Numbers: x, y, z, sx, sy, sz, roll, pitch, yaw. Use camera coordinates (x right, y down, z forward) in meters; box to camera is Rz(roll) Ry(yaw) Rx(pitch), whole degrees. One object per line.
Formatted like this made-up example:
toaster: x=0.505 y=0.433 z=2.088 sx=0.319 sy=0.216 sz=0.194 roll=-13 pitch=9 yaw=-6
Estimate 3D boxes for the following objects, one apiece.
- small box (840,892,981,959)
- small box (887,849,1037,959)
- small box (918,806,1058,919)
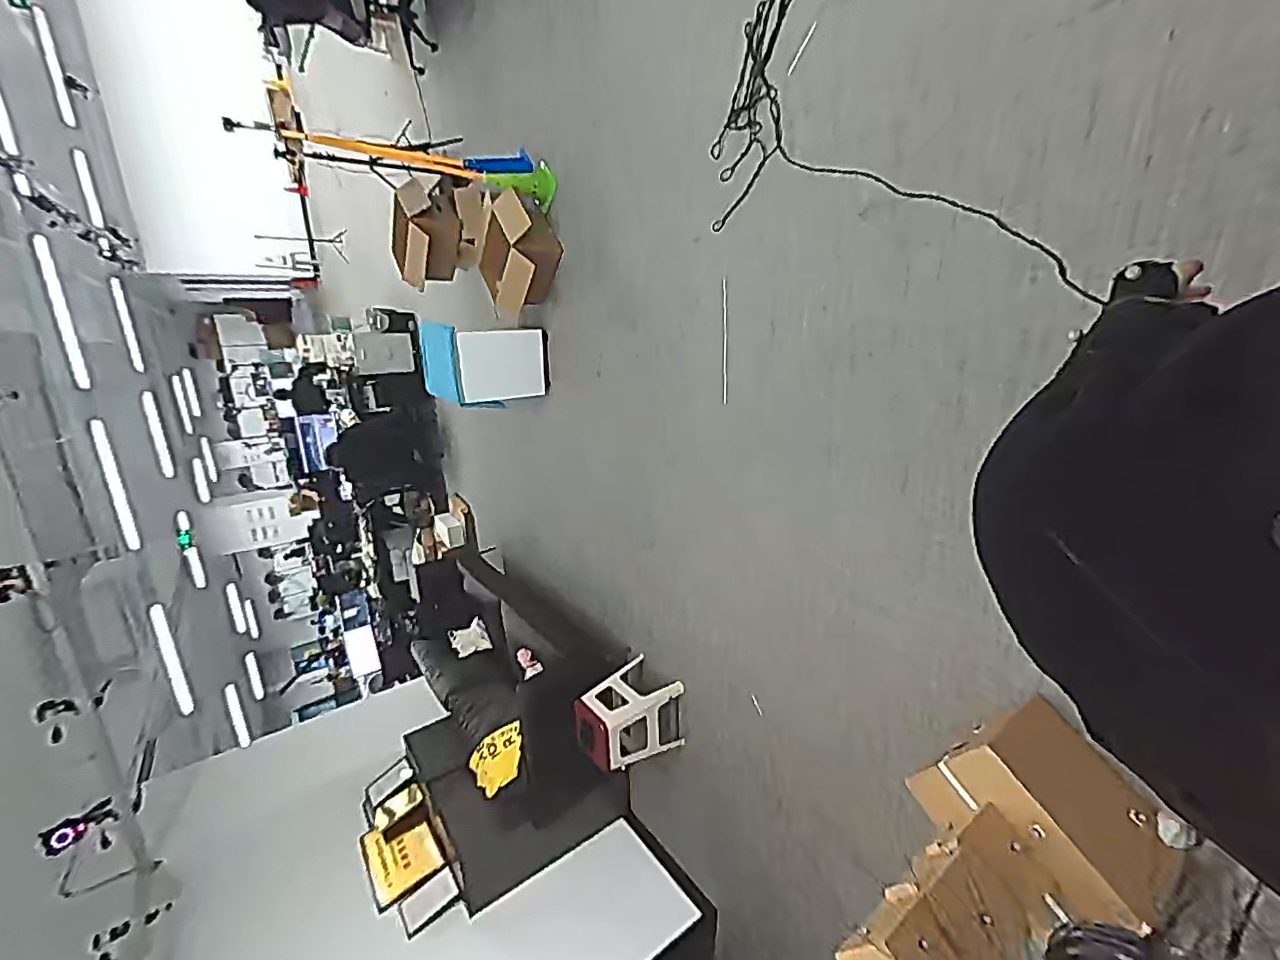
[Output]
small box: x=0.534 y=0.939 z=1.042 sx=0.168 sy=0.176 sz=0.179 roll=53 pitch=140 yaw=31
small box: x=0.668 y=0.908 z=1.128 sx=0.179 sy=0.176 sz=0.168 roll=53 pitch=140 yaw=29
small box: x=0.792 y=0.882 z=1.235 sx=0.179 sy=0.176 sz=0.168 roll=52 pitch=140 yaw=33
